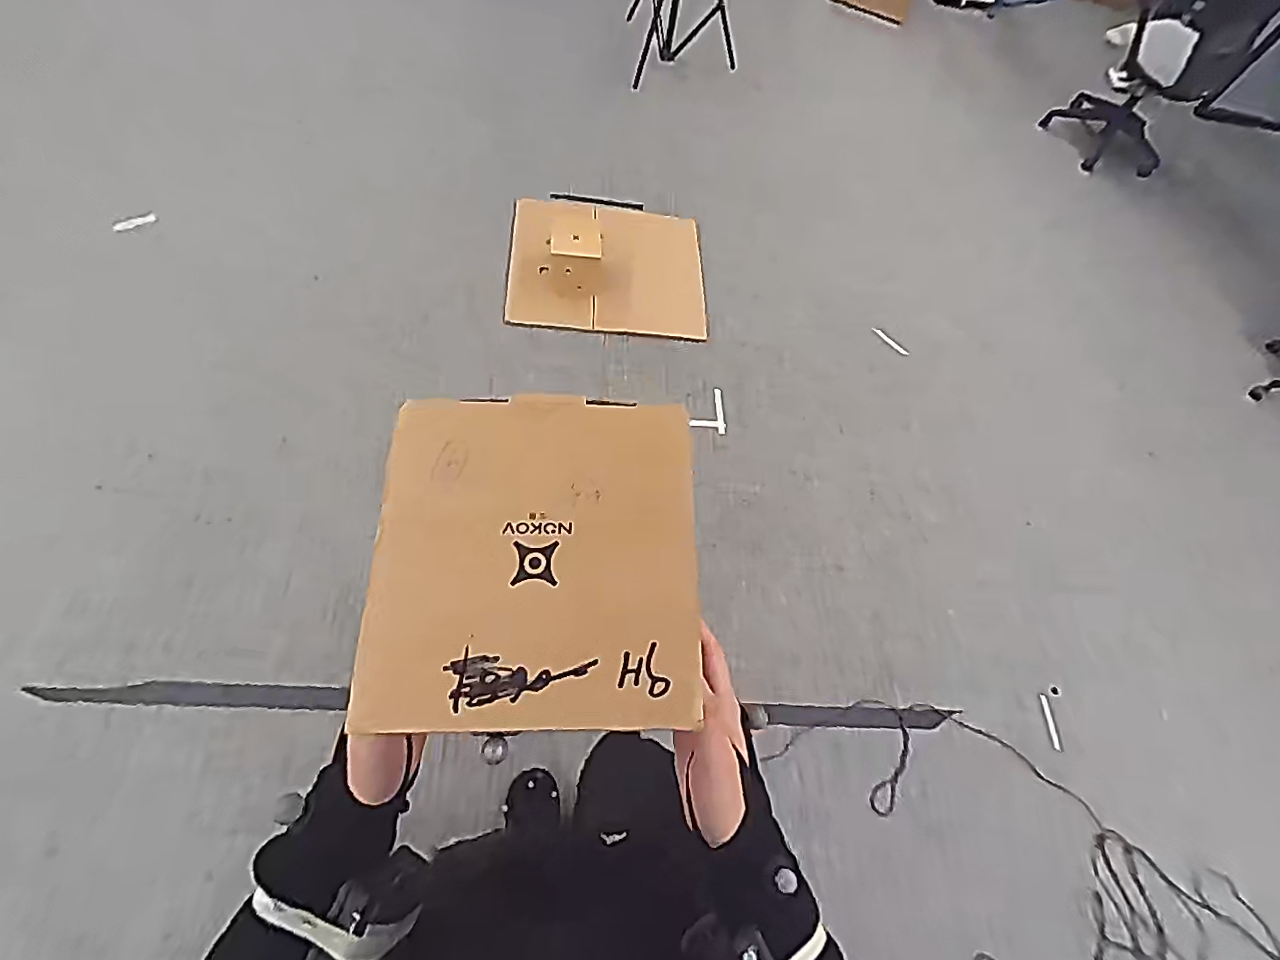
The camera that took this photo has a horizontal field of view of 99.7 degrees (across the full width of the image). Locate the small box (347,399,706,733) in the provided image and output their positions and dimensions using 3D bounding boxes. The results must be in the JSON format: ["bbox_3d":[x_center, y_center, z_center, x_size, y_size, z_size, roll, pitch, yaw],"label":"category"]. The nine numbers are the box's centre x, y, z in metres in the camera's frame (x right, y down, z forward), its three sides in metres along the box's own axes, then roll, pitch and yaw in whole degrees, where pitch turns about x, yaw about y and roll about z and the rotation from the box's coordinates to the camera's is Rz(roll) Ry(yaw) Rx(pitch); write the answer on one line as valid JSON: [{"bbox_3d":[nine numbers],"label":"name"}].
[{"bbox_3d":[-0.053,0.066,0.351,0.168,0.176,0.179,0,67,-1],"label":"small box"}]

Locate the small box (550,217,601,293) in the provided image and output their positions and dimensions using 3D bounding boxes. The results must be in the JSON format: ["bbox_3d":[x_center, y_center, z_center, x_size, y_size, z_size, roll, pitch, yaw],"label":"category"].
[{"bbox_3d":[-0.222,-0.763,1.846,0.168,0.176,0.179,1,64,-10],"label":"small box"}]
